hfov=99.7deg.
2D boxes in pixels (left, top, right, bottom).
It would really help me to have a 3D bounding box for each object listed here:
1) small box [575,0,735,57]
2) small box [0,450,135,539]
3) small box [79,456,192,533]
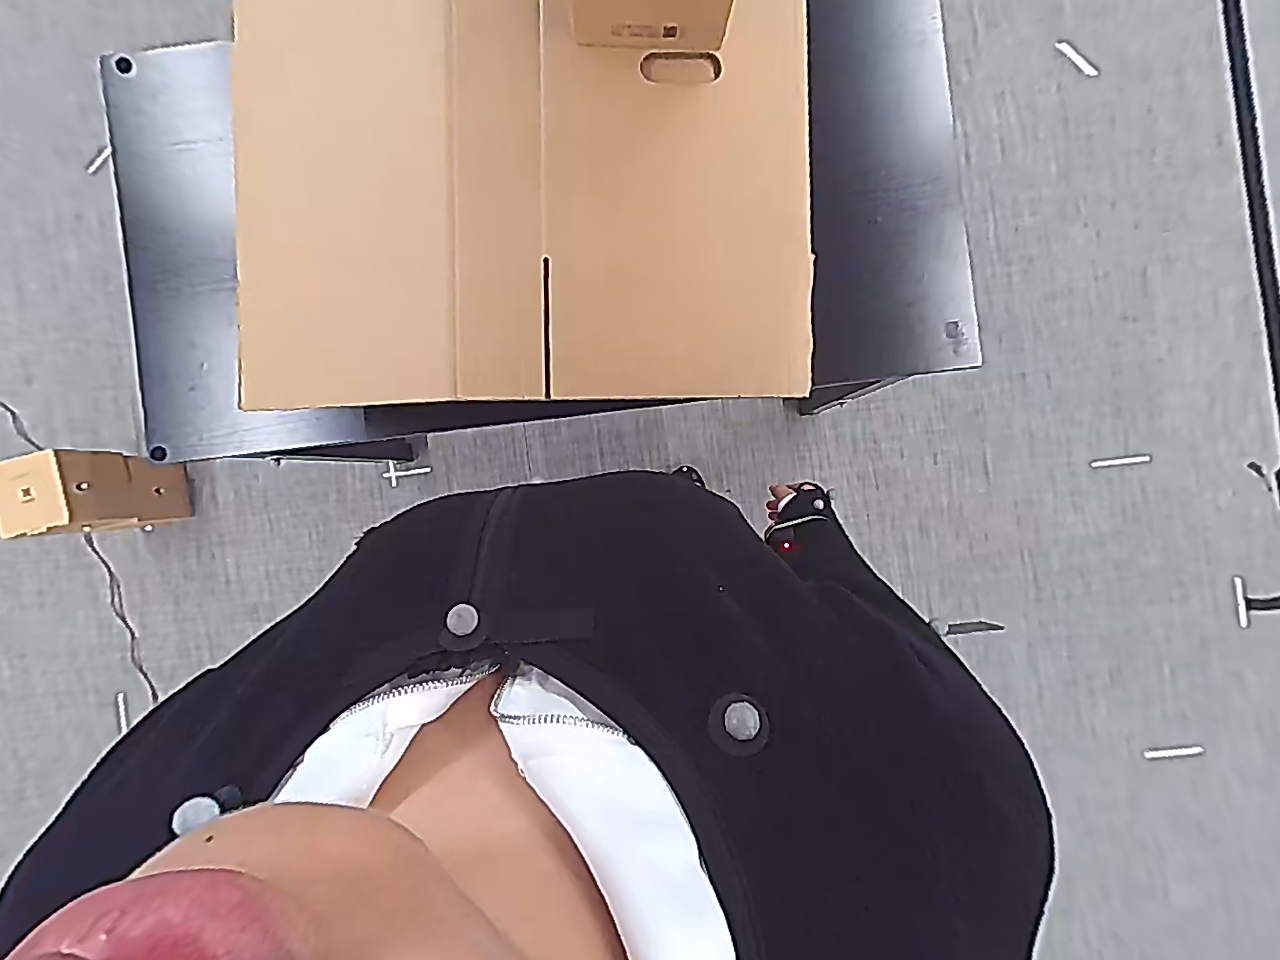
[{"bbox_3d":[0.016,-0.562,0.520,0.168,0.176,0.179,1,88,-2],"label":"small box"},{"bbox_3d":[-1.373,0.033,1.297,0.168,0.176,0.179,-14,88,1],"label":"small box"},{"bbox_3d":[-1.366,0.039,1.459,0.168,0.176,0.179,-10,90,2],"label":"small box"}]
